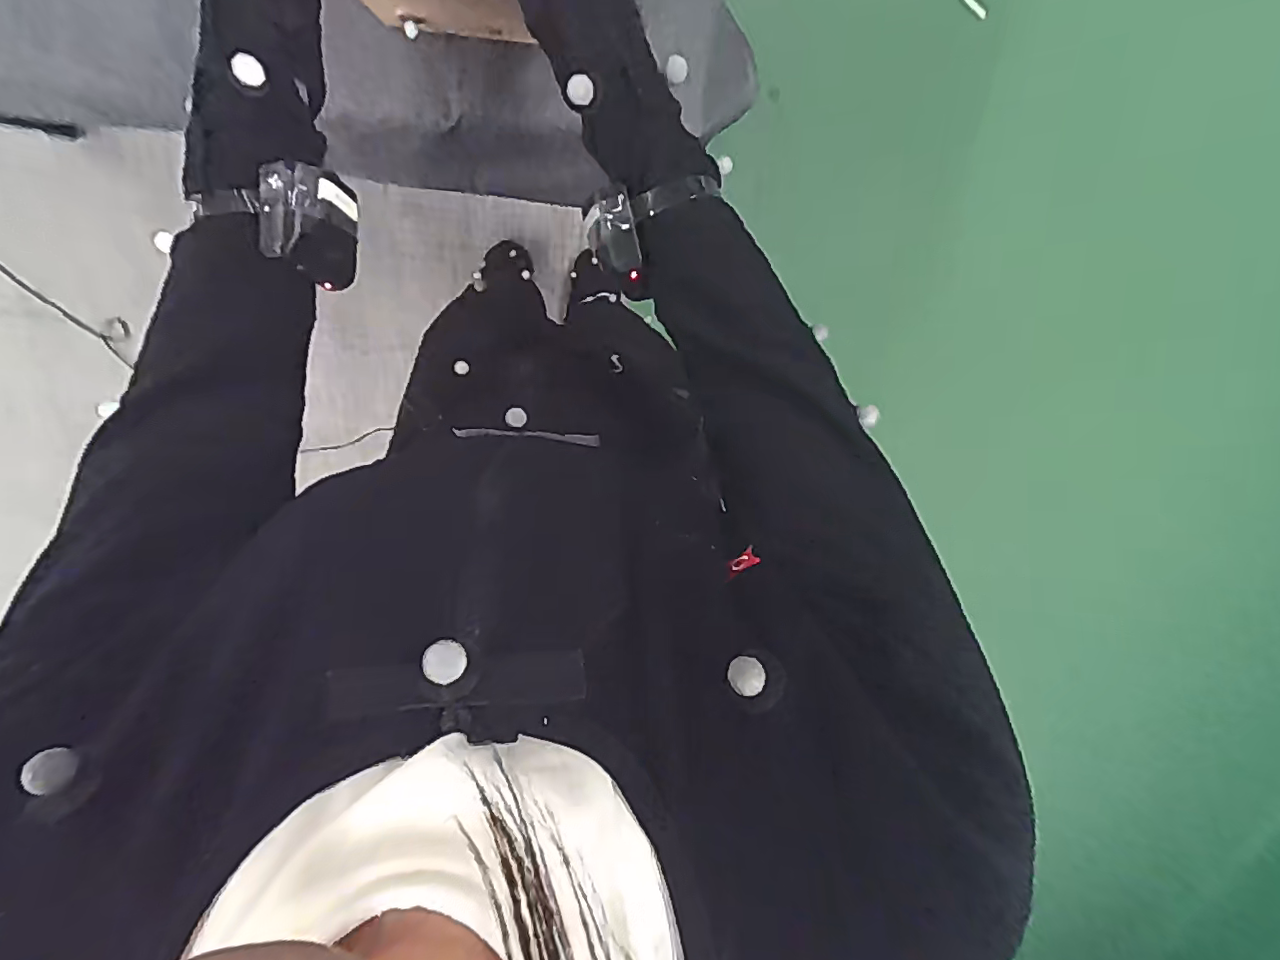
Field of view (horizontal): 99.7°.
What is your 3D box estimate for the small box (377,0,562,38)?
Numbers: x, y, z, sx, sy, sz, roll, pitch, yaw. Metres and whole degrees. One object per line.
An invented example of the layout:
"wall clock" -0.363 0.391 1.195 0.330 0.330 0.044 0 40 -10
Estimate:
"small box" -0.142 -0.463 0.395 0.168 0.176 0.179 2 112 -6
